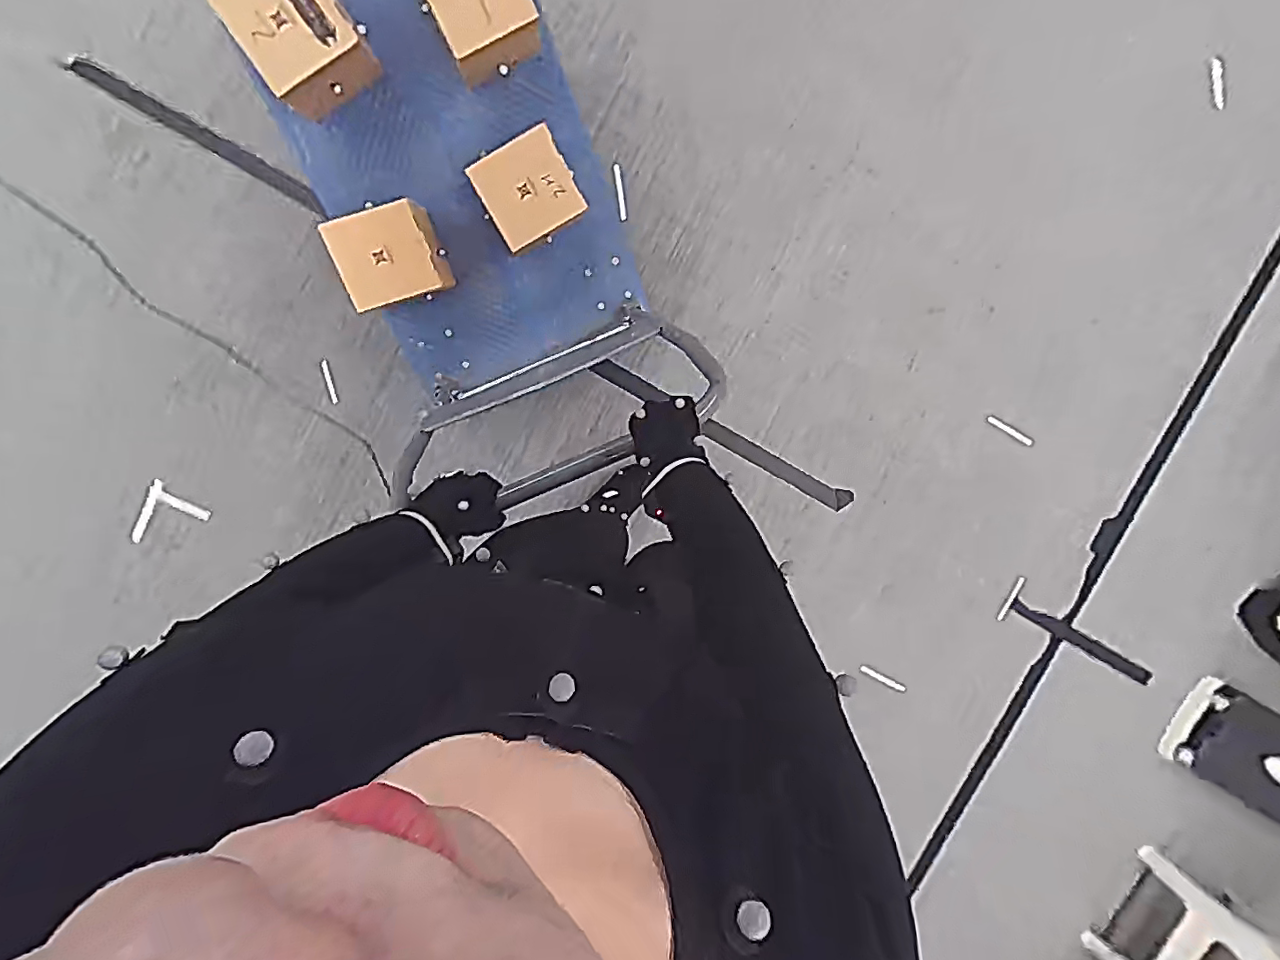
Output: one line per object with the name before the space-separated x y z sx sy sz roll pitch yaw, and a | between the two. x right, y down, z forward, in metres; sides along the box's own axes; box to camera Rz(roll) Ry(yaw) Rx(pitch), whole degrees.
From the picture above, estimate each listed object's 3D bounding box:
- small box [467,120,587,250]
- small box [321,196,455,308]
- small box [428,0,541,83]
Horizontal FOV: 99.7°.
small box | -0.223 -0.588 1.107 0.179 0.176 0.168 -29 112 3
small box | -0.503 -0.459 1.110 0.179 0.176 0.168 -19 112 -3
small box | -0.294 -0.879 0.988 0.168 0.176 0.179 -27 113 1
